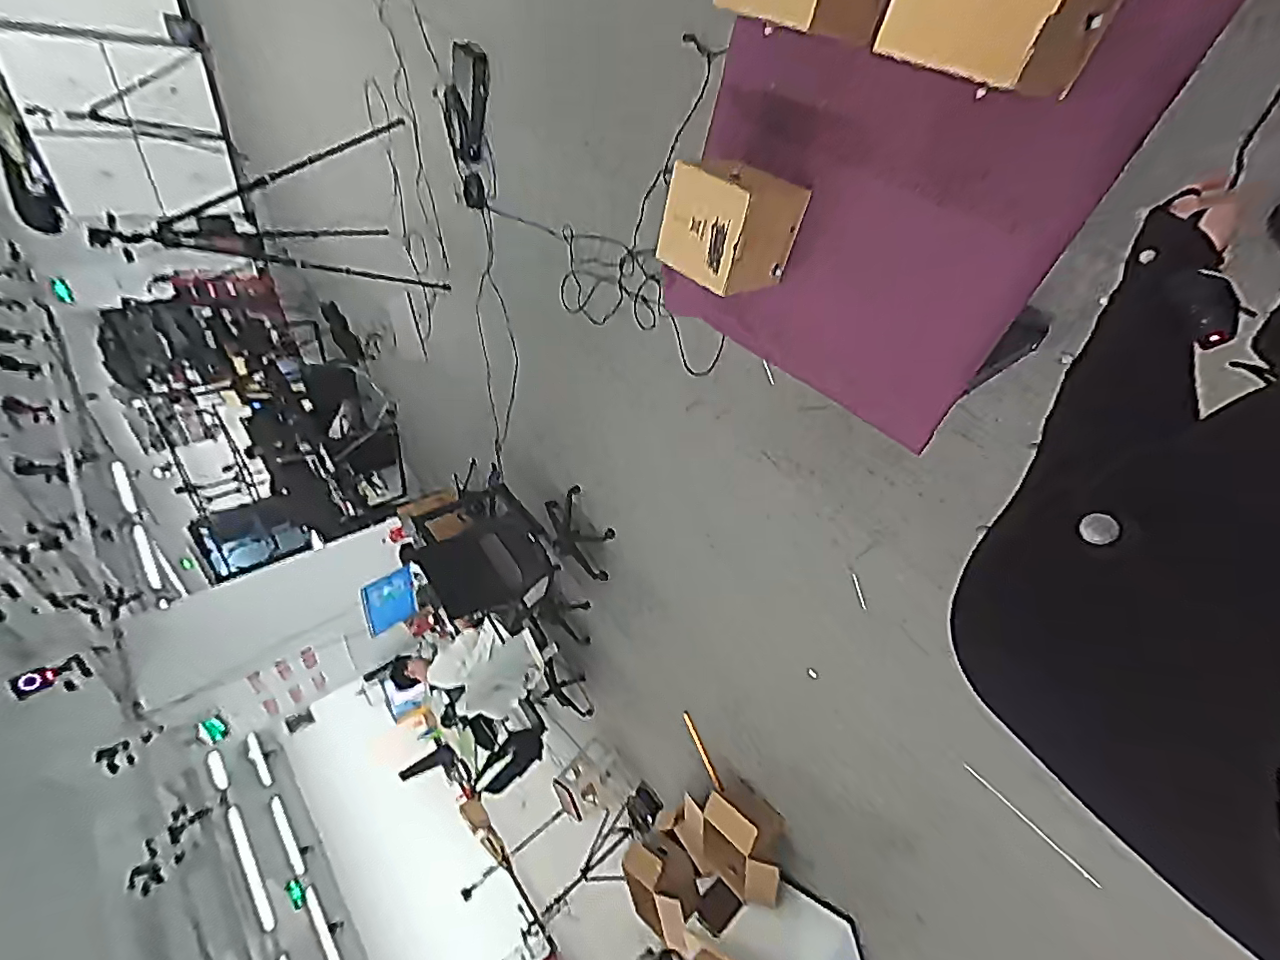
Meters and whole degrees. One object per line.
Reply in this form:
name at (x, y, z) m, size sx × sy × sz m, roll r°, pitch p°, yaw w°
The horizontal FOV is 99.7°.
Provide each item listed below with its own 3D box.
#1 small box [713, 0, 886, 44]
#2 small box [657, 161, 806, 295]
small box at (0.234, -0.713, 0.728) m, size 0.179 × 0.176 × 0.168 m, roll 43°, pitch 139°, yaw 27°
small box at (0.162, -0.454, 0.965) m, size 0.179 × 0.176 × 0.168 m, roll 43°, pitch 138°, yaw 29°
